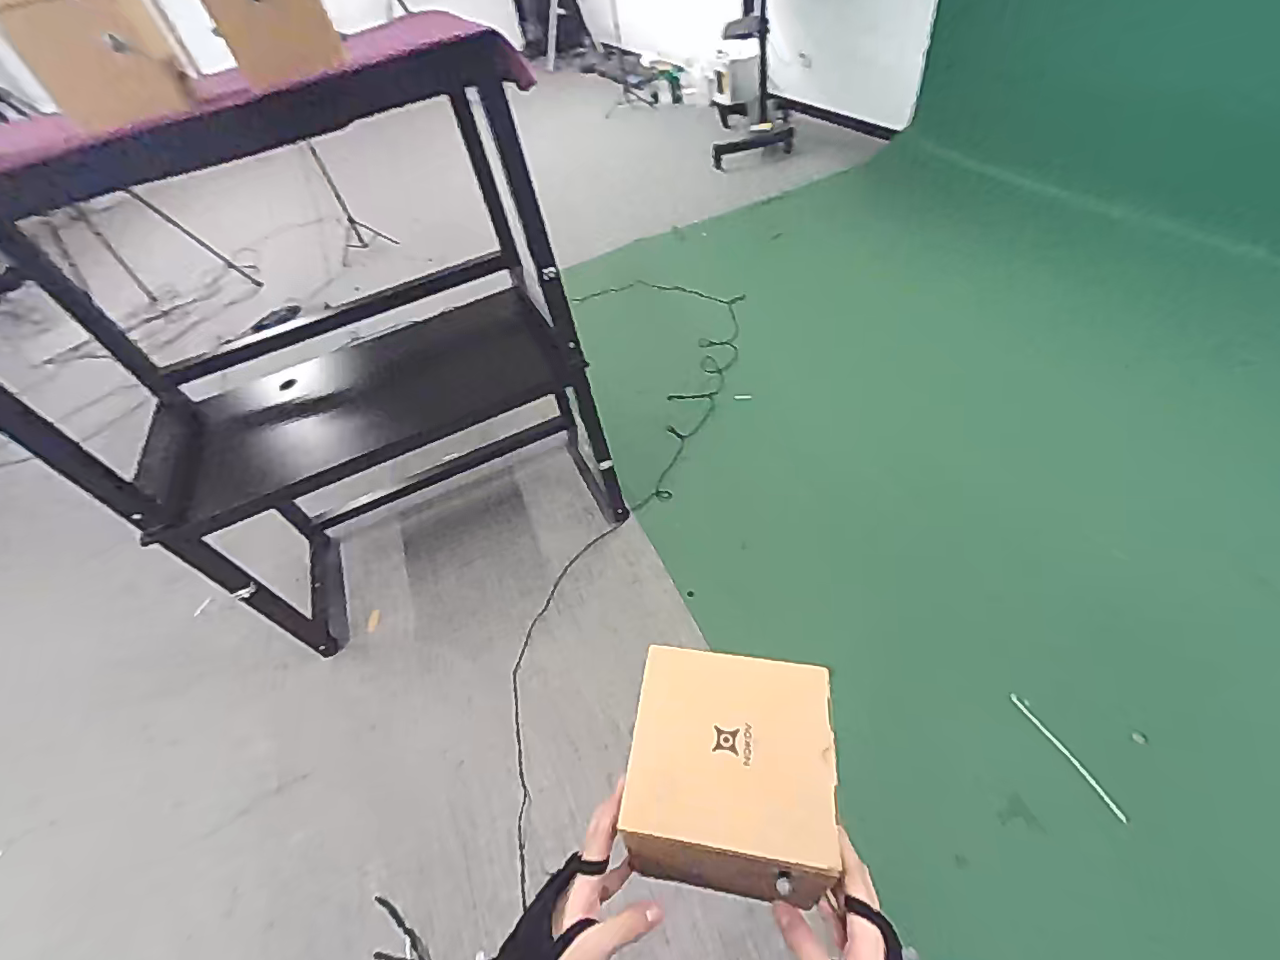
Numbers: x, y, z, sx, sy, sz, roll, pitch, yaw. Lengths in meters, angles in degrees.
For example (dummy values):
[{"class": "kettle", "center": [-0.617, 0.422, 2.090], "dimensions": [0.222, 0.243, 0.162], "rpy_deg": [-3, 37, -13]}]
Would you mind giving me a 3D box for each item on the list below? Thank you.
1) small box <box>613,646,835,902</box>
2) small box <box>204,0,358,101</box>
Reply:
[{"class": "small box", "center": [0.081, 0.287, 0.529], "dimensions": [0.179, 0.176, 0.168], "rpy_deg": [4, 44, 9]}, {"class": "small box", "center": [-0.631, -0.802, 0.959], "dimensions": [0.179, 0.176, 0.168], "rpy_deg": [-22, 49, -8]}]
